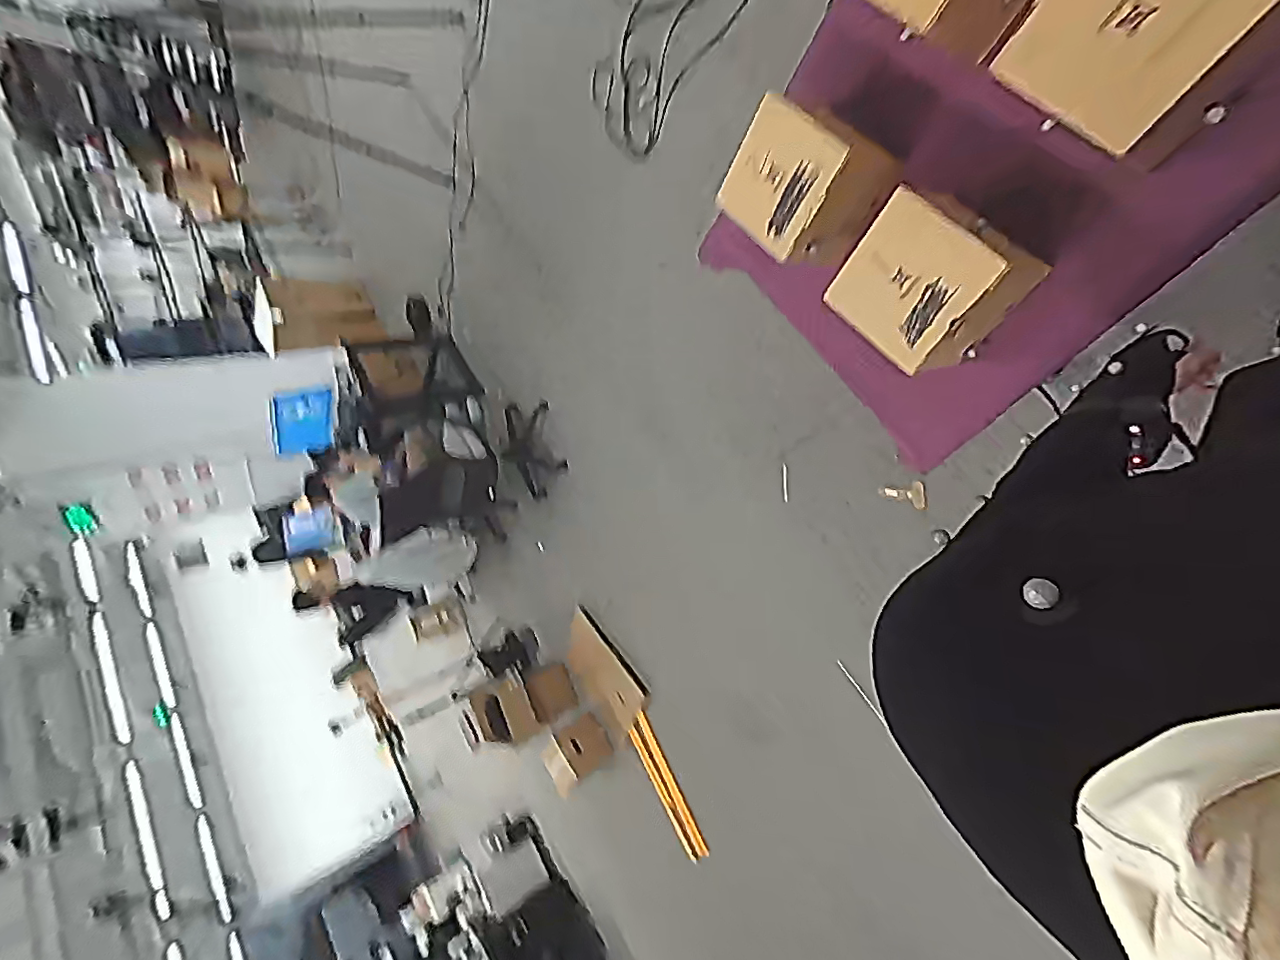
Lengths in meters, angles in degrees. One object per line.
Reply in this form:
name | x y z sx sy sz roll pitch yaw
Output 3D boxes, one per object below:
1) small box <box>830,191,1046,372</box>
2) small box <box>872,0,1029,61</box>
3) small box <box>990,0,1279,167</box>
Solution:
small box | 0.417 -0.278 0.762 0.179 0.176 0.168 55 139 24
small box | 0.386 -0.653 0.659 0.179 0.176 0.168 54 139 20
small box | 0.524 -0.454 0.563 0.179 0.176 0.168 56 140 21
